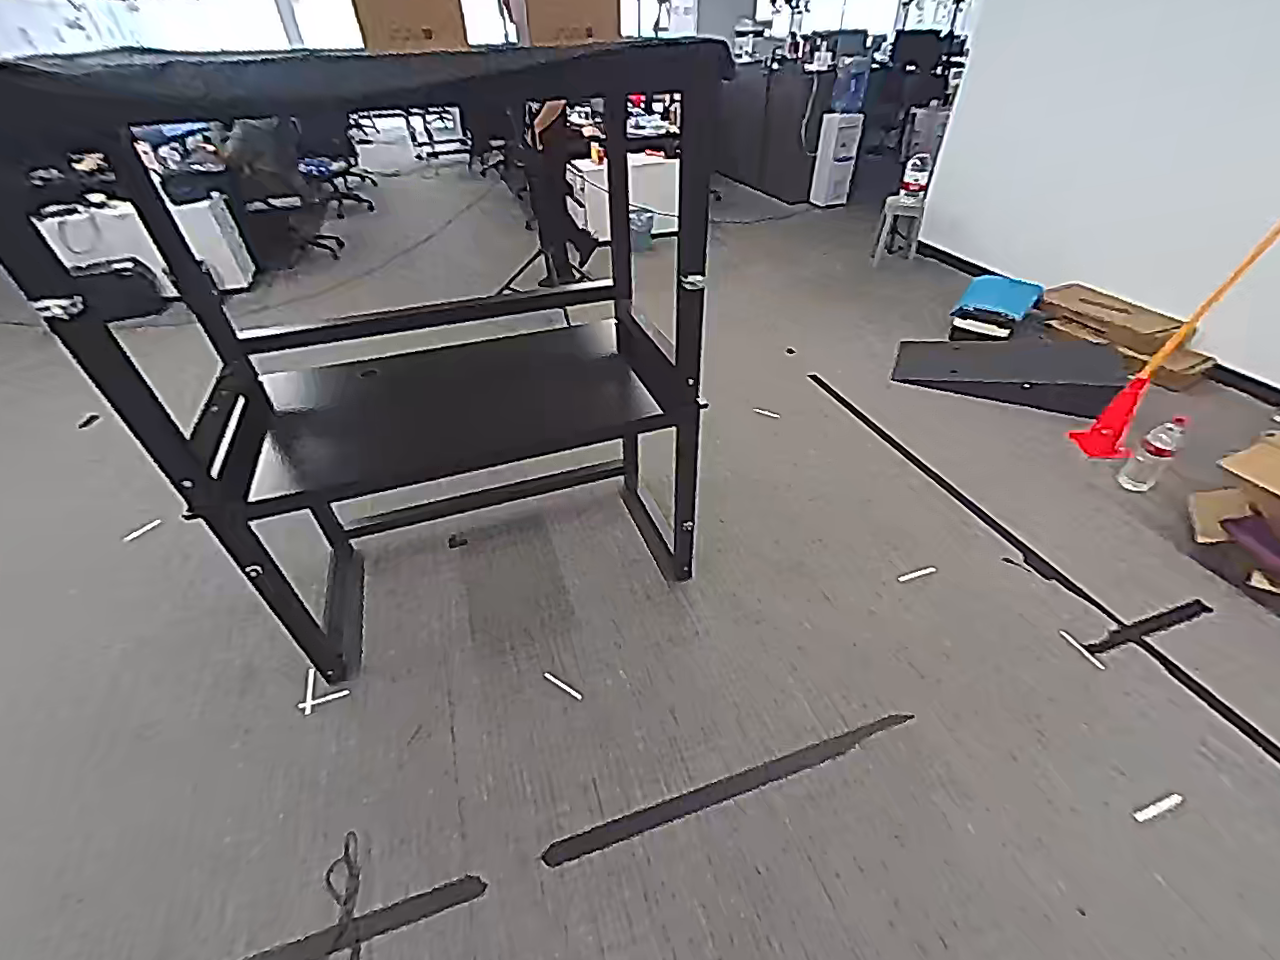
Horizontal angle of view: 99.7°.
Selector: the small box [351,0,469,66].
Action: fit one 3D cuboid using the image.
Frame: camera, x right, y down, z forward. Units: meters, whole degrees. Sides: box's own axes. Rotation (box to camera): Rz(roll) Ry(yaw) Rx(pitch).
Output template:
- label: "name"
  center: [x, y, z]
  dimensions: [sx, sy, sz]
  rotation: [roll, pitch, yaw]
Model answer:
- label: "small box"
  center: [-0.388, -0.805, 0.902]
  dimensions: [0.168, 0.176, 0.179]
  rotation: [-12, 40, -11]
